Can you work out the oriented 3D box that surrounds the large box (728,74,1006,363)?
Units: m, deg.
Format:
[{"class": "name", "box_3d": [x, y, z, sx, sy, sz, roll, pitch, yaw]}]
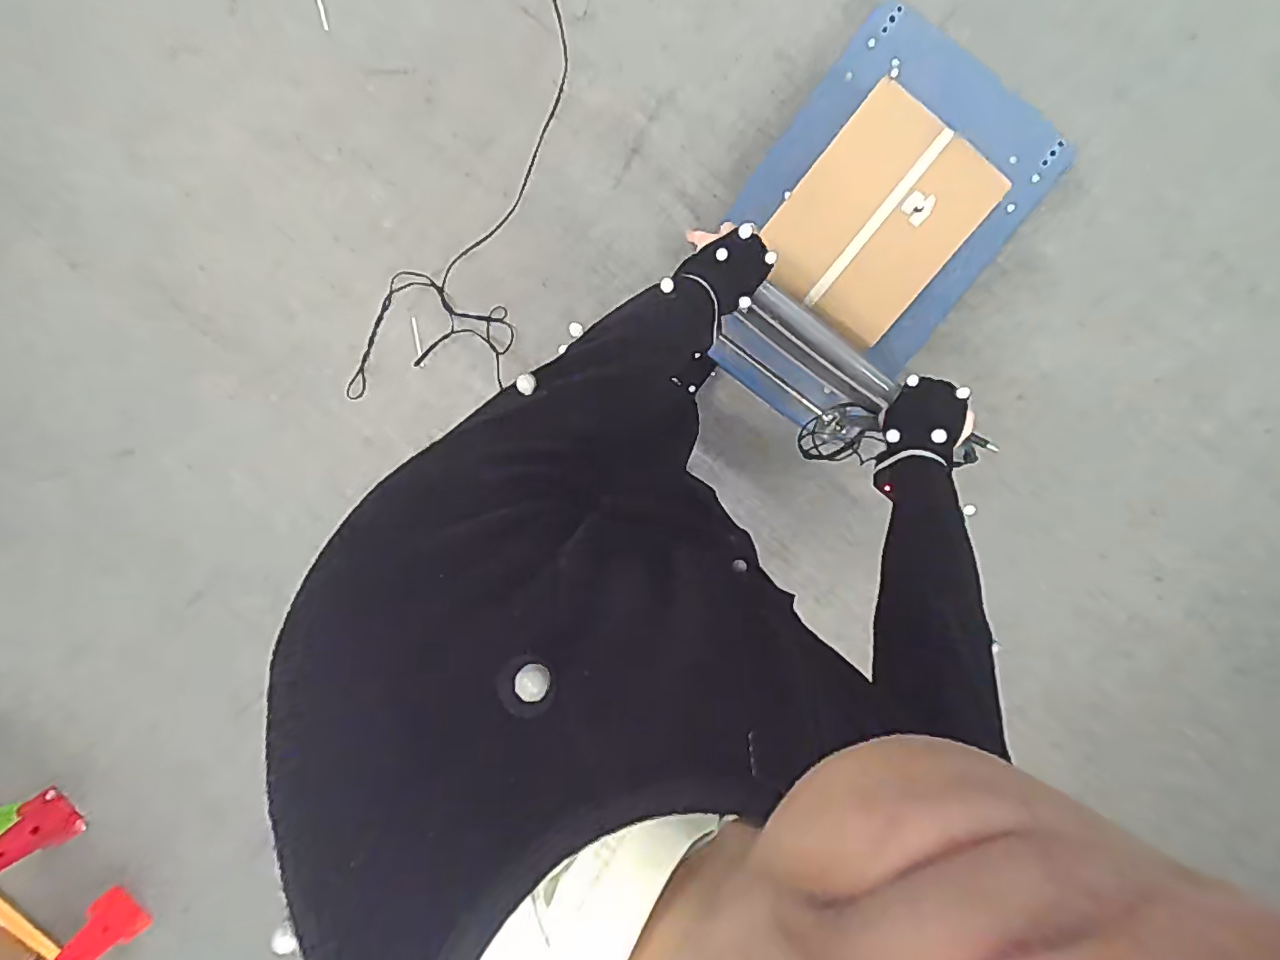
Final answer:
[{"class": "large box", "box_3d": [0.441, -0.510, 1.157, 0.320, 0.320, 0.408, 39, 99, -4]}]
